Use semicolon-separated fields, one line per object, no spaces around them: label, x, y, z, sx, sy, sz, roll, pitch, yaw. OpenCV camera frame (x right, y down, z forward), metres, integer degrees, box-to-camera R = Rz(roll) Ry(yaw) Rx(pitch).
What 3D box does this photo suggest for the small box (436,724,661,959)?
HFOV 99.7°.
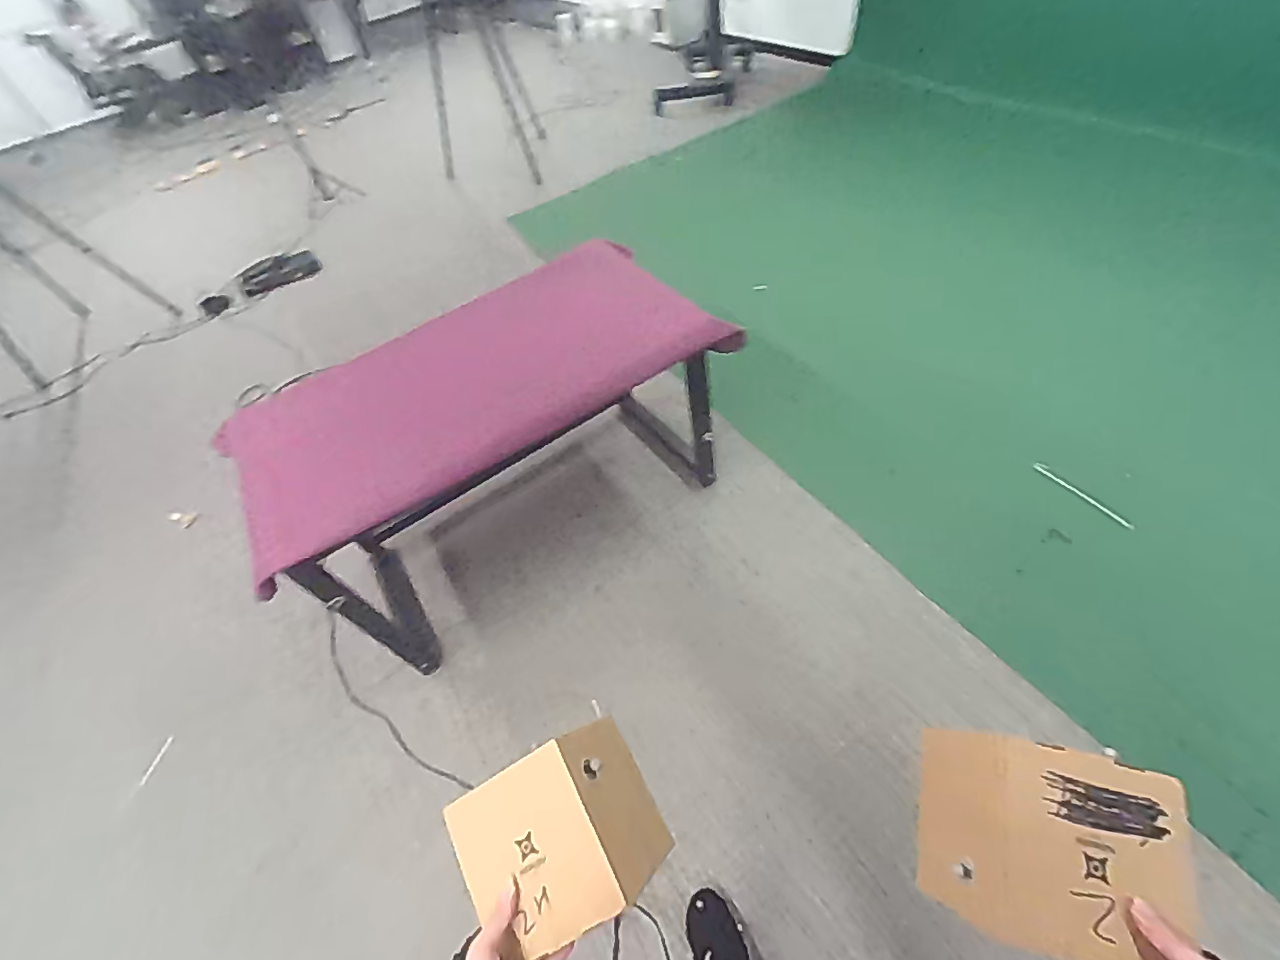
small box;-0.100;0.414;0.645;0.168;0.176;0.179;-36;67;9
